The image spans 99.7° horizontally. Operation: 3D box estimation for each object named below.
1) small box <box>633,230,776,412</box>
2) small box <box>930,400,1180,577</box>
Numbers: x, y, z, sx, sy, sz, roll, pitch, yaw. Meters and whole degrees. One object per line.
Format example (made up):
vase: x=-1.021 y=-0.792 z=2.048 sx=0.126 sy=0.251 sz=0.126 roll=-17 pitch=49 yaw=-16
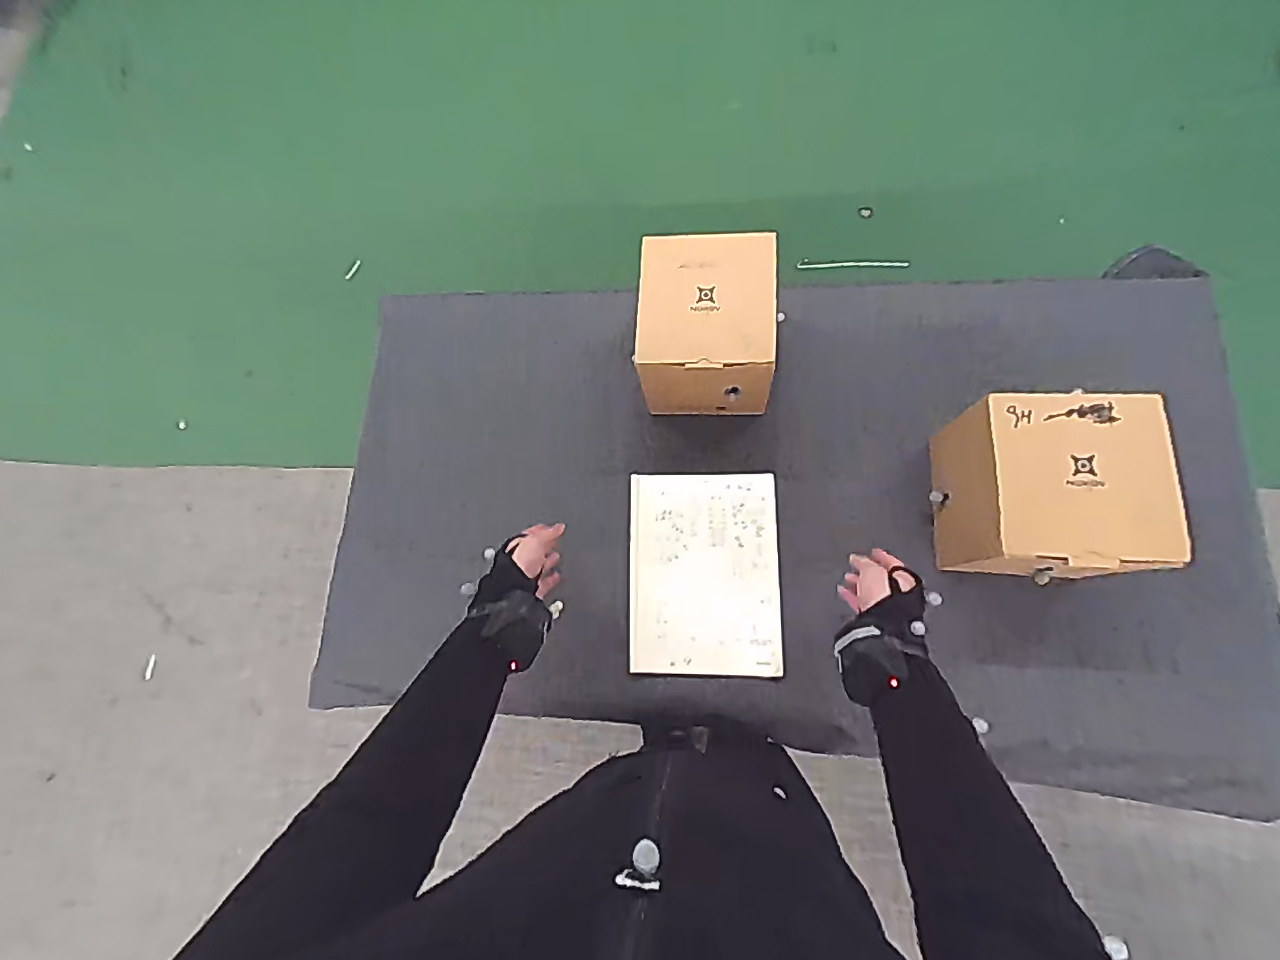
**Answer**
small box: x=0.087 y=-0.195 z=0.709 sx=0.168 sy=0.176 sz=0.179 roll=1 pitch=76 yaw=7
small box: x=0.453 y=0.019 z=0.622 sx=0.168 sy=0.176 sz=0.179 roll=2 pitch=78 yaw=8
